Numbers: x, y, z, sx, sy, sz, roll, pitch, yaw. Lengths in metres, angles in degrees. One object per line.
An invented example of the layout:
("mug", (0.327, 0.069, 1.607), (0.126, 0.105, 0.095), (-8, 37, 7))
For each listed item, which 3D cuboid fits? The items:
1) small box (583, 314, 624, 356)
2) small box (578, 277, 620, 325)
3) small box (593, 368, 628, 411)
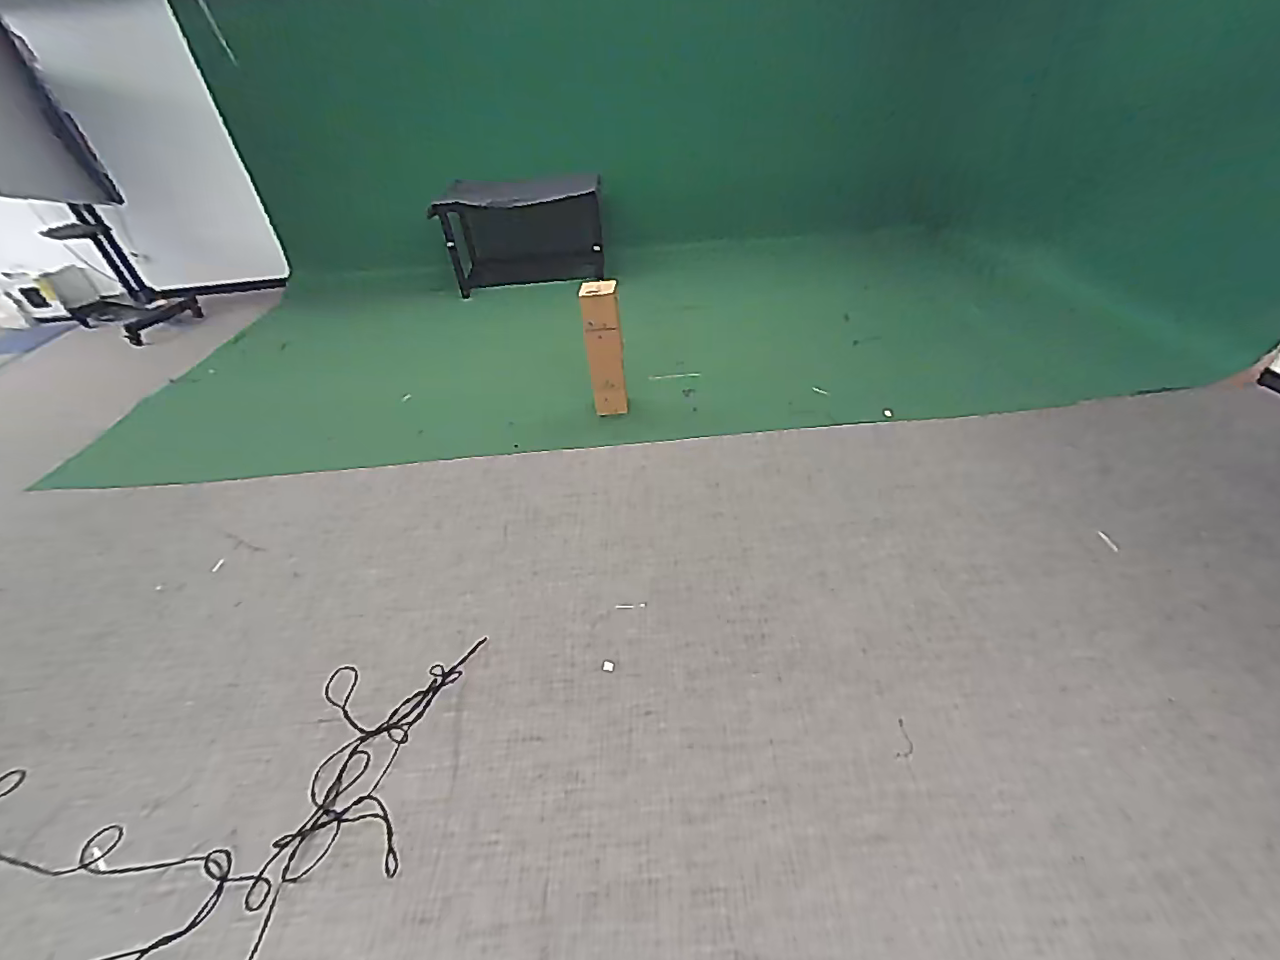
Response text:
("small box", (-0.180, -0.732, 2.701), (0.179, 0.176, 0.168), (-3, 40, 4))
("small box", (-0.190, -0.853, 2.589), (0.168, 0.176, 0.179), (-2, 38, 6))
("small box", (-0.156, -0.482, 2.912), (0.168, 0.176, 0.179), (-5, 38, 2))
